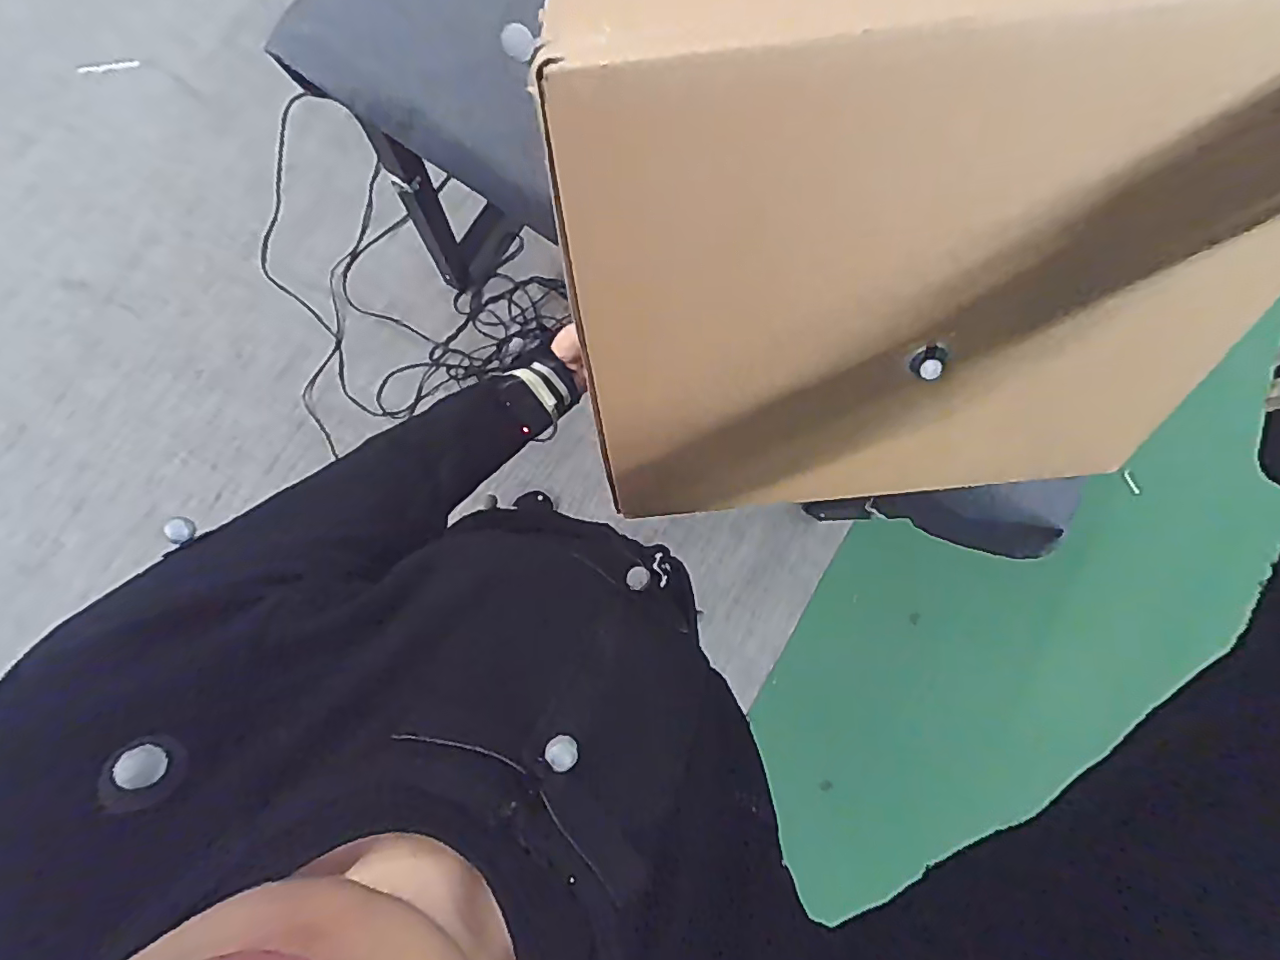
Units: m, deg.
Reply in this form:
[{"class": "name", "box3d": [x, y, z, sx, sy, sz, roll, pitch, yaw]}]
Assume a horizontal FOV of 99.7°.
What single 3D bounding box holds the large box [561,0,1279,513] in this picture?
[{"class": "large box", "box3d": [0.167, -0.202, 0.429, 0.408, 0.320, 0.320, -8, 50, 2]}]
